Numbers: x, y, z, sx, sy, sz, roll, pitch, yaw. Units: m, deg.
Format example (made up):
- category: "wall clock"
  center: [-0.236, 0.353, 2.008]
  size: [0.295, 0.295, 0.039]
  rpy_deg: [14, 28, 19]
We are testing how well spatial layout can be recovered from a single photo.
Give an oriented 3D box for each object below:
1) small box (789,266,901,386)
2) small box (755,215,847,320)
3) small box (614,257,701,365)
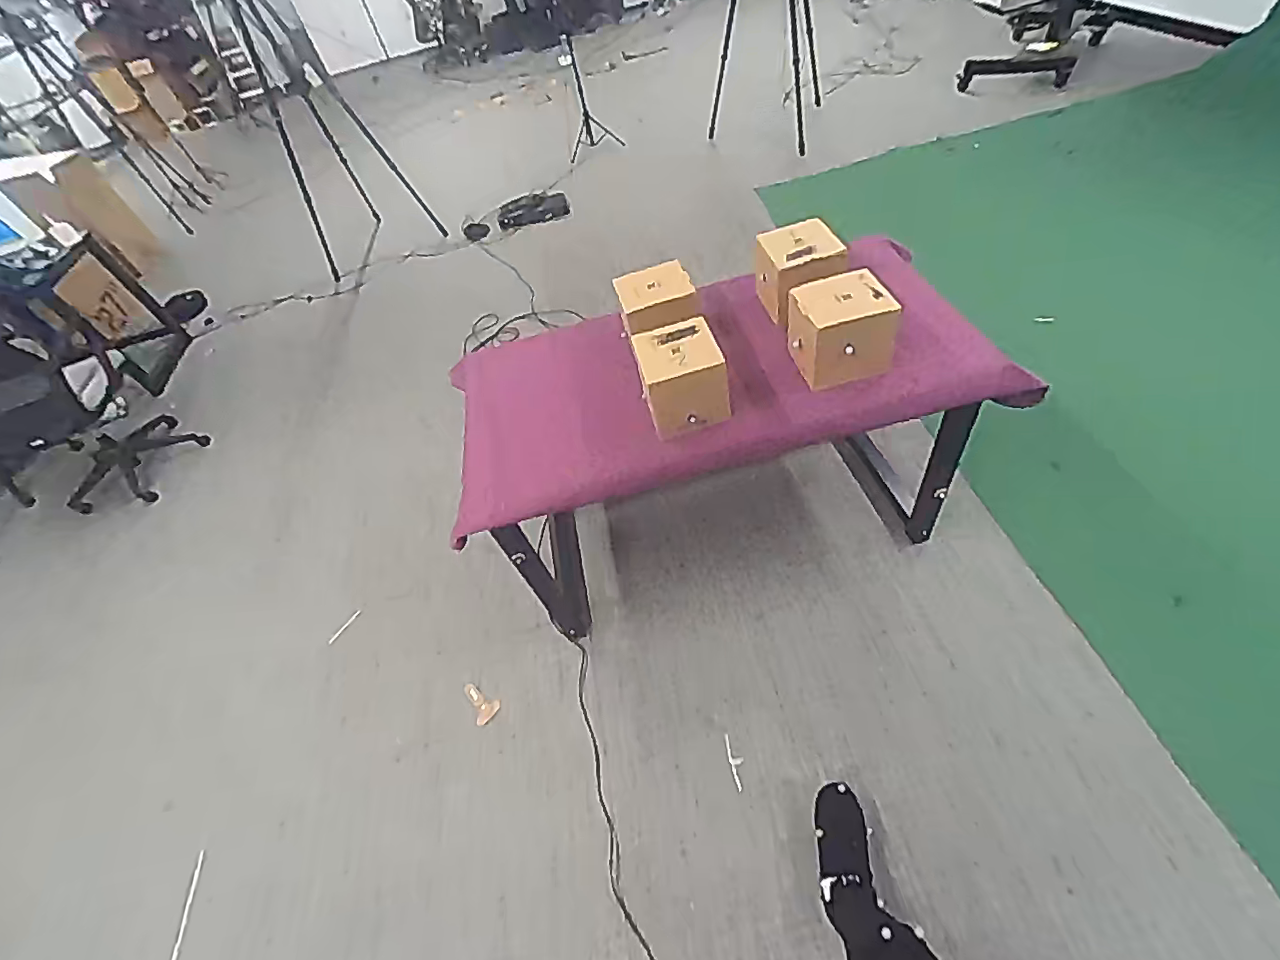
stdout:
- category: "small box"
  center: [0.435, -0.328, 1.171]
  size: [0.179, 0.176, 0.168]
  rpy_deg: [-15, 49, 4]
- category: "small box"
  center: [0.393, -0.515, 1.334]
  size: [0.168, 0.176, 0.179]
  rpy_deg: [-15, 49, 2]
- category: "small box"
  center: [0.048, -0.417, 1.347]
  size: [0.179, 0.176, 0.168]
  rpy_deg: [-17, 49, 1]
